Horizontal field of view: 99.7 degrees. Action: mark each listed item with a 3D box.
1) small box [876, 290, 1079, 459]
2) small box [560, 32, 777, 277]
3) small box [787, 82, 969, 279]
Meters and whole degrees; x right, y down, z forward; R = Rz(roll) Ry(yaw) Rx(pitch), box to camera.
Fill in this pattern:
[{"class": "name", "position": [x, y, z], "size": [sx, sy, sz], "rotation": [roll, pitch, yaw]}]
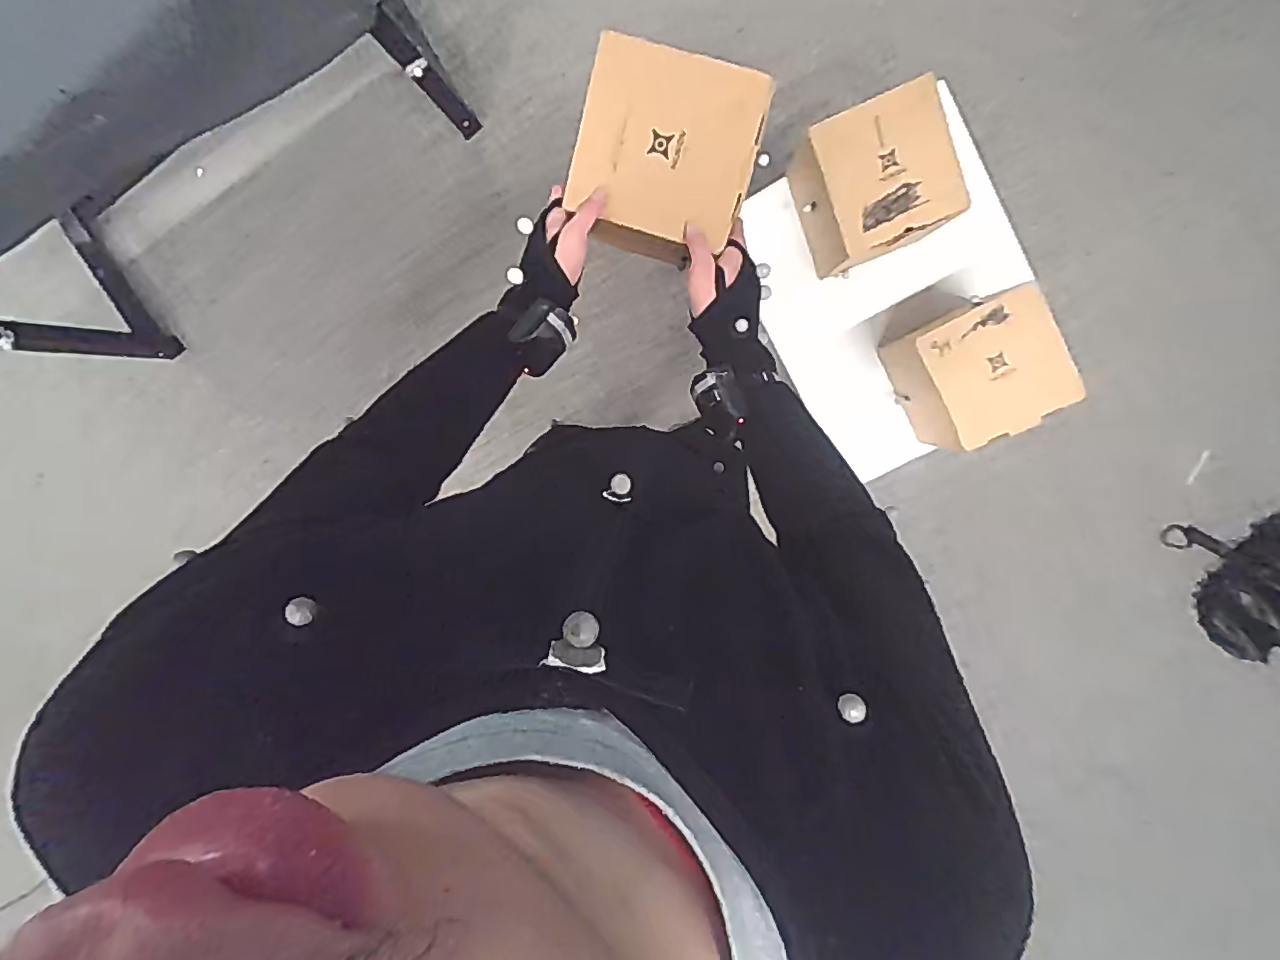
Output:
[{"class": "small box", "position": [0.484, -0.152, 0.801], "size": [0.168, 0.176, 0.179], "rotation": [-27, 96, 8]}, {"class": "small box", "position": [0.032, -0.335, 0.597], "size": [0.179, 0.176, 0.168], "rotation": [16, 102, 3]}, {"class": "small box", "position": [0.327, -0.406, 0.775], "size": [0.168, 0.176, 0.179], "rotation": [-20, 96, 7]}]
